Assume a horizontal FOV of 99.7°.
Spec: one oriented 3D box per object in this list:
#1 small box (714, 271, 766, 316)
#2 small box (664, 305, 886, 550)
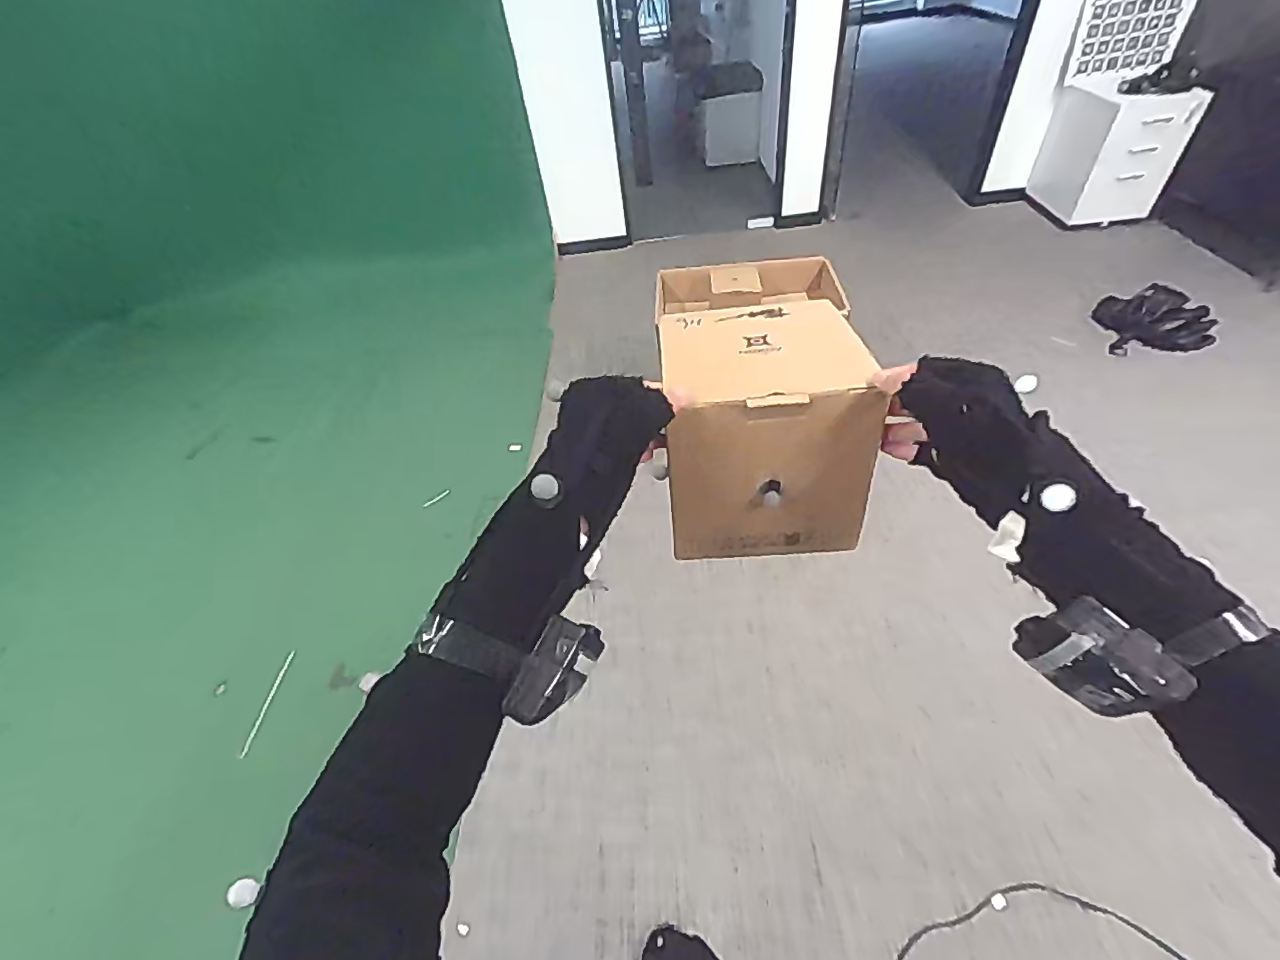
[{"bbox_3d":[0.349,-0.617,1.906,0.168,0.176,0.179,-1,44,4],"label":"small box"},{"bbox_3d":[0.111,-0.046,0.513,0.168,0.176,0.179,-4,38,4],"label":"small box"}]
